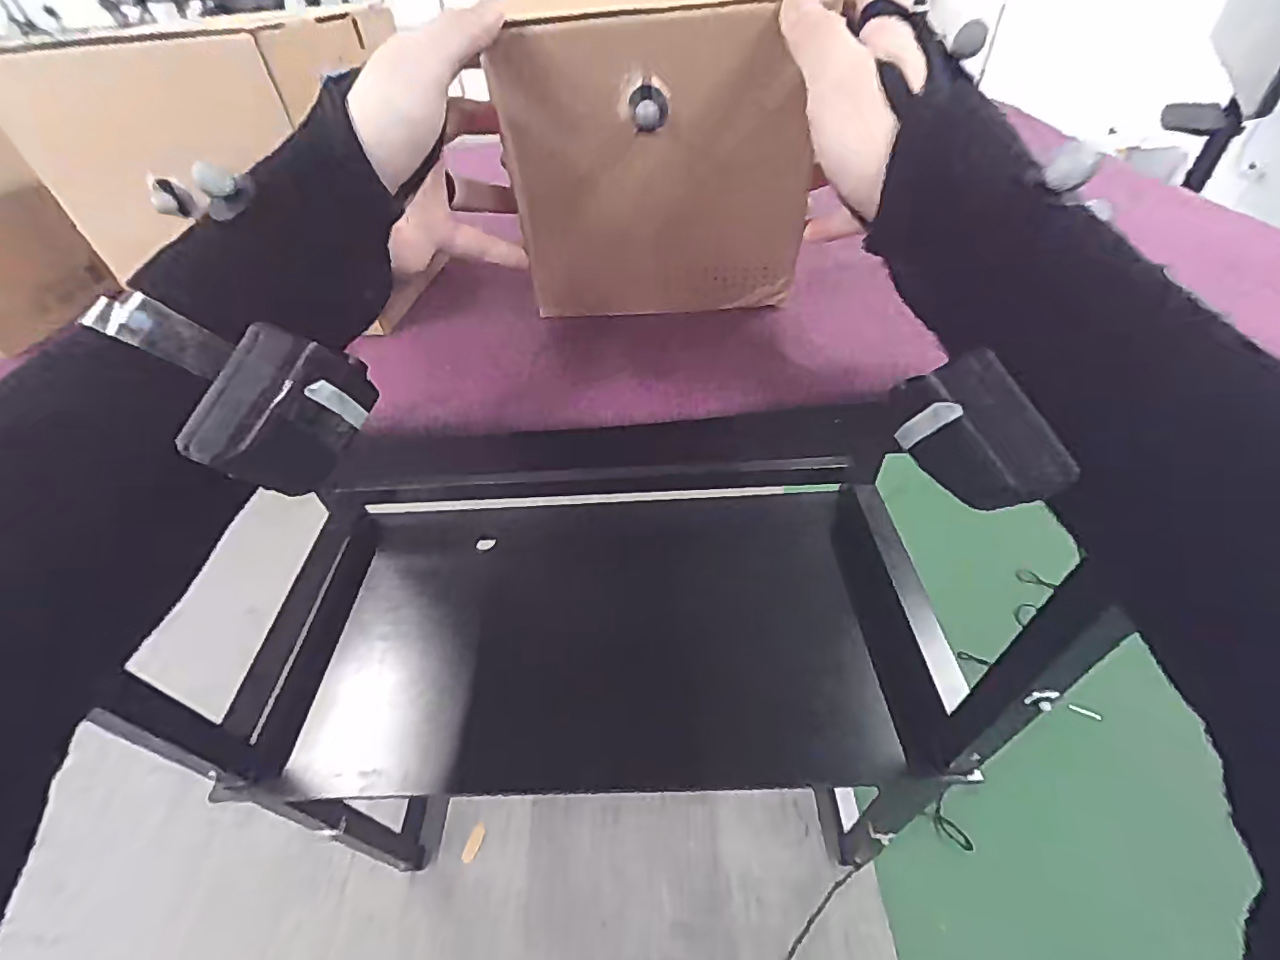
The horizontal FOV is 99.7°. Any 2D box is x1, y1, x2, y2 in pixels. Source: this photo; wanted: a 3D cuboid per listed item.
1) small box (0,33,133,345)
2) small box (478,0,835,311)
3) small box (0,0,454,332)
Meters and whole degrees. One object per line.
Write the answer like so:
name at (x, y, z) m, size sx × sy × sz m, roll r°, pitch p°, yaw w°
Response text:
small box at (-0.538, -0.204, 0.396) m, size 0.179 × 0.176 × 0.168 m, roll -1°, pitch 46°, yaw 5°
small box at (0.016, -0.230, 0.365) m, size 0.179 × 0.176 × 0.168 m, roll -1°, pitch 51°, yaw 4°
small box at (-0.257, -0.219, 0.385) m, size 0.179 × 0.176 × 0.168 m, roll 0°, pitch 44°, yaw 6°
